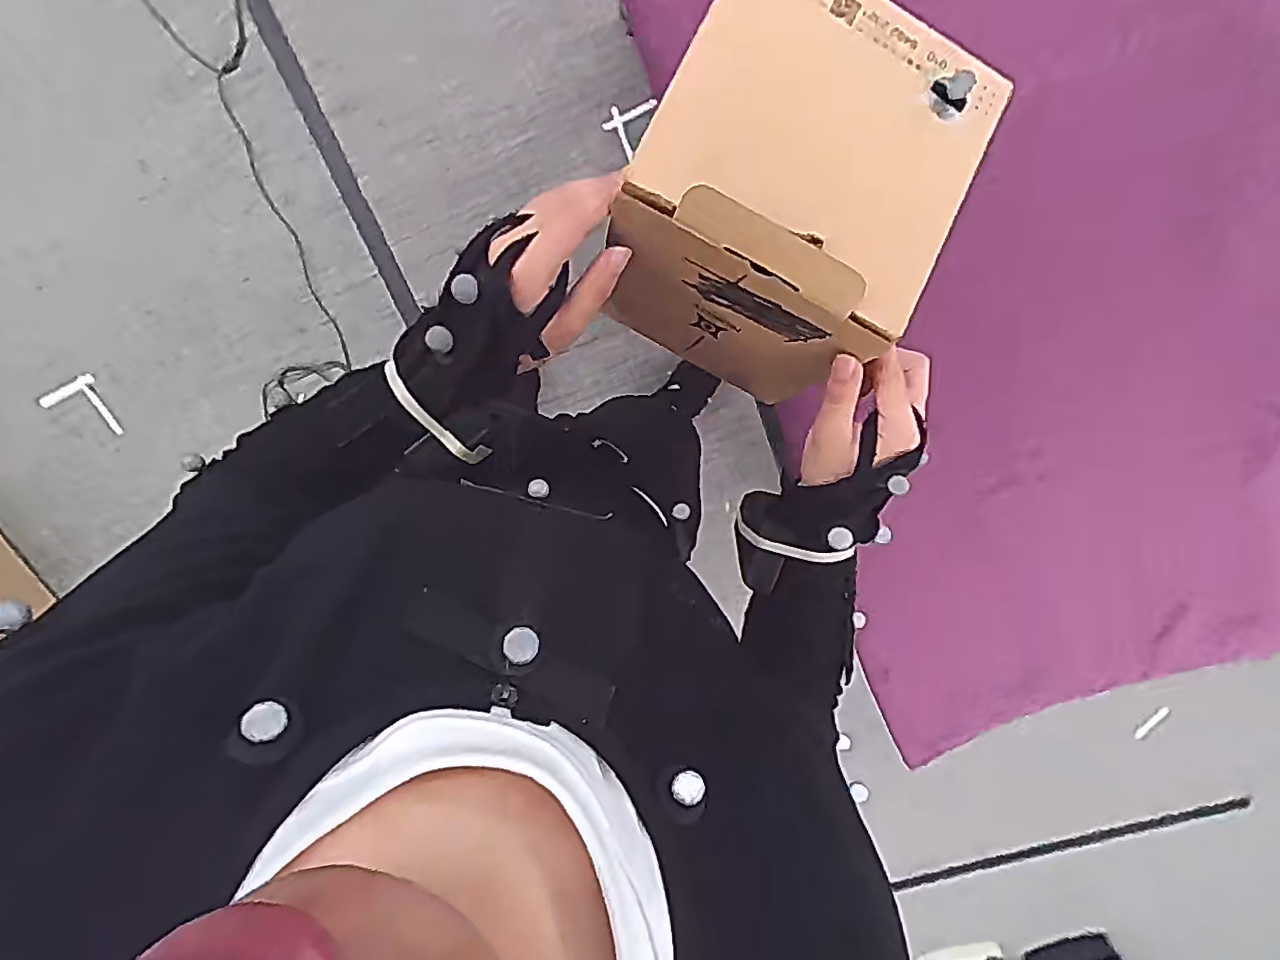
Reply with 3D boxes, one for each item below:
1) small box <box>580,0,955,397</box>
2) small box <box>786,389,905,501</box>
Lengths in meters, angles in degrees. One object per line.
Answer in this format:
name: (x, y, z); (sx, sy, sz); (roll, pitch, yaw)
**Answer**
small box: (0.073, -0.181, 0.361); (0.168, 0.179, 0.176); (26, 84, -6)
small box: (0.425, -0.083, 1.144); (0.168, 0.176, 0.179); (-21, 106, 9)
